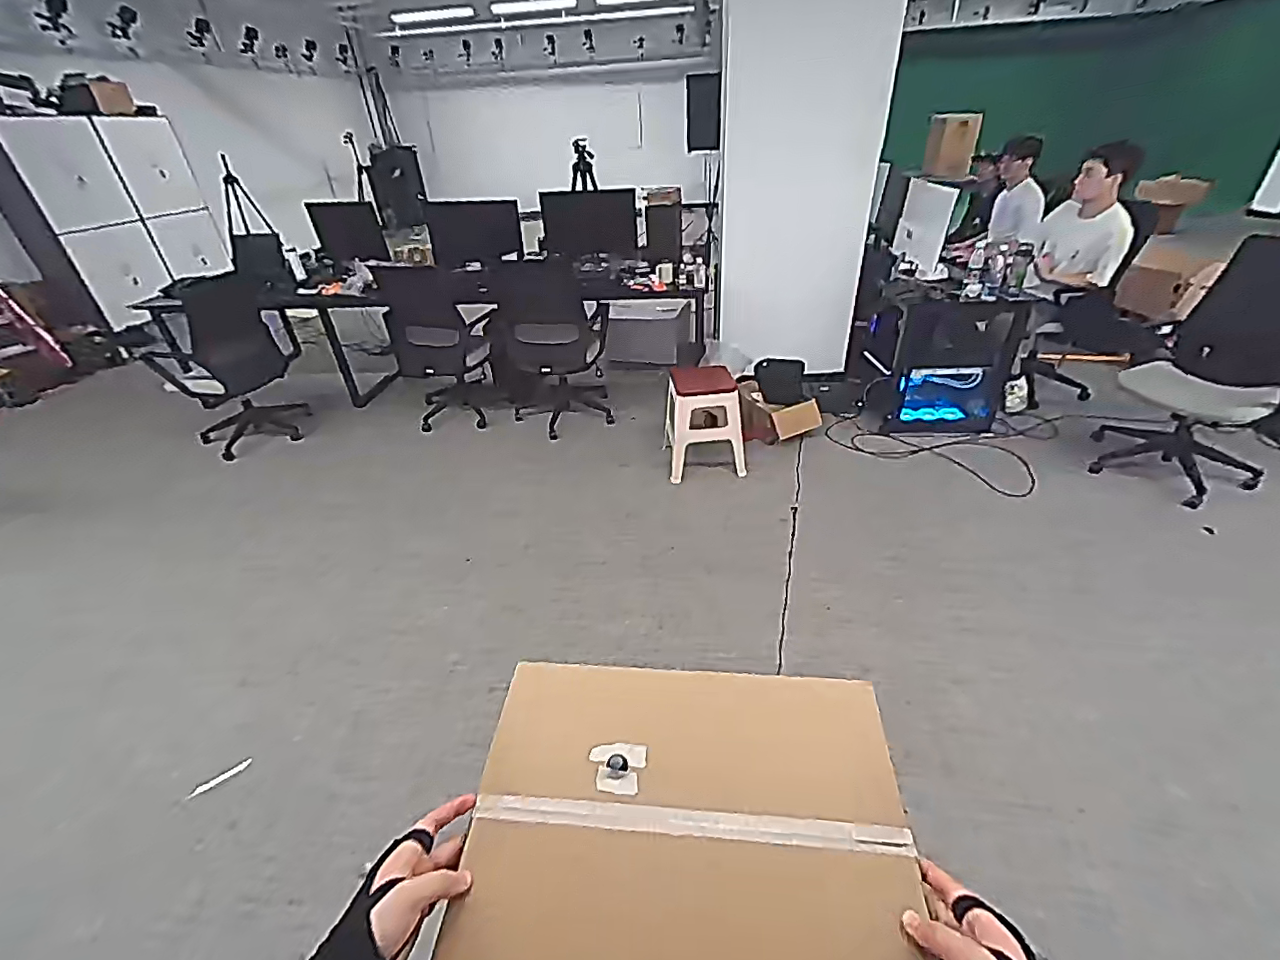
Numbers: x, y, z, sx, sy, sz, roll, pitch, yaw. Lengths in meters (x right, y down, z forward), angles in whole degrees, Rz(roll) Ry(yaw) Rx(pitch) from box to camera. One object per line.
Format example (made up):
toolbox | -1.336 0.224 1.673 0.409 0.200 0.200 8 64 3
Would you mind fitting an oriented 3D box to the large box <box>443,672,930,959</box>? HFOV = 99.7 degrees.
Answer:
large box | 0.054 0.441 0.610 0.408 0.320 0.320 0 40 7
